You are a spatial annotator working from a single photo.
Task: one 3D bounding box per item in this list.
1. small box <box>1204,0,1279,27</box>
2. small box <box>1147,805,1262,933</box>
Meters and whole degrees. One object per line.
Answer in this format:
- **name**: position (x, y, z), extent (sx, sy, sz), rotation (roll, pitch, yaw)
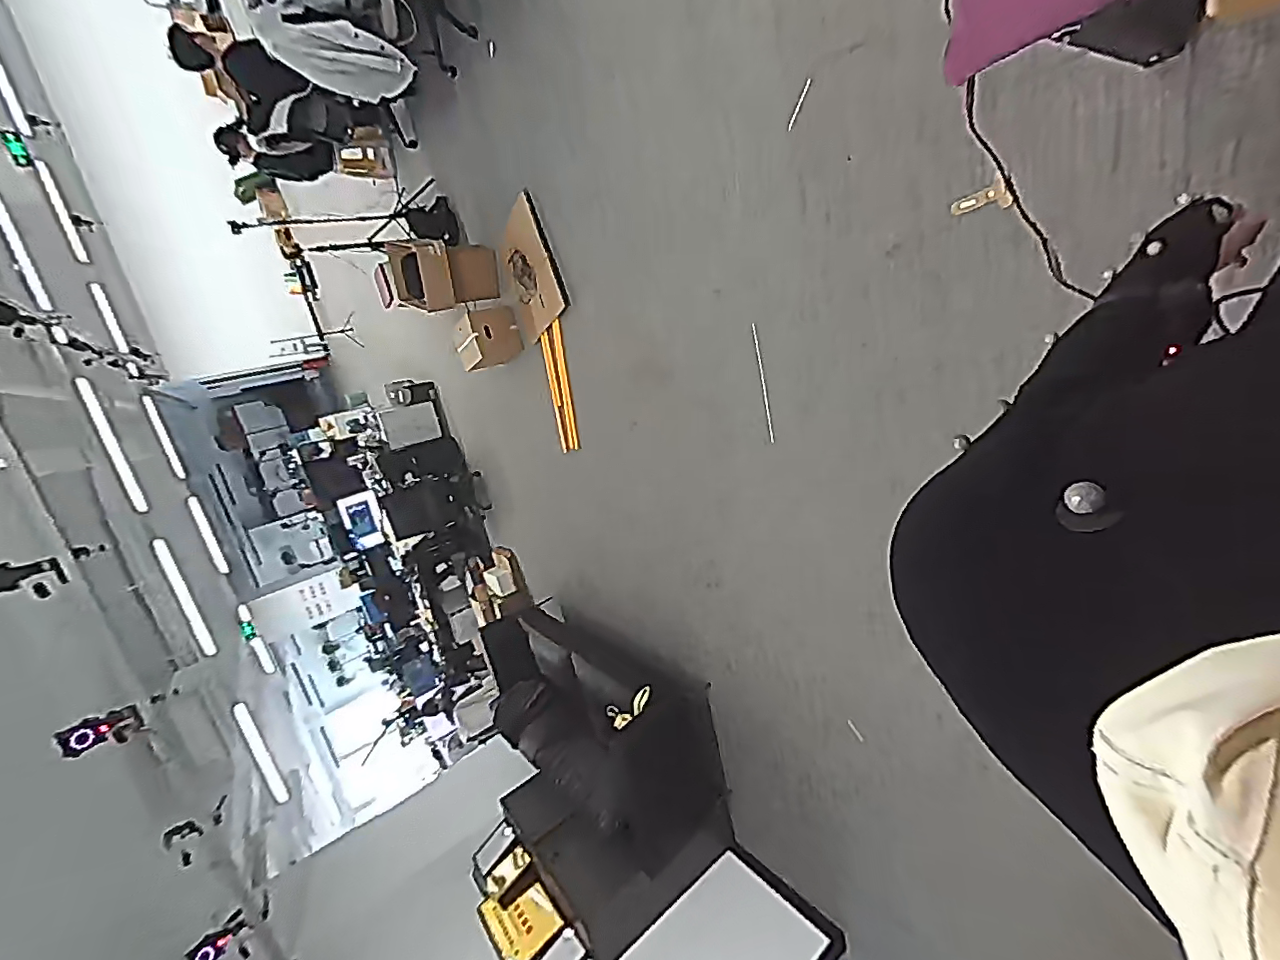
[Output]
- **small box**: position (1.052, -0.874, 0.867), extent (0.179, 0.176, 0.168), rotation (7, 114, 55)
- **small box**: position (1.438, 0.976, 1.381), extent (0.179, 0.176, 0.168), rotation (8, 115, 54)
